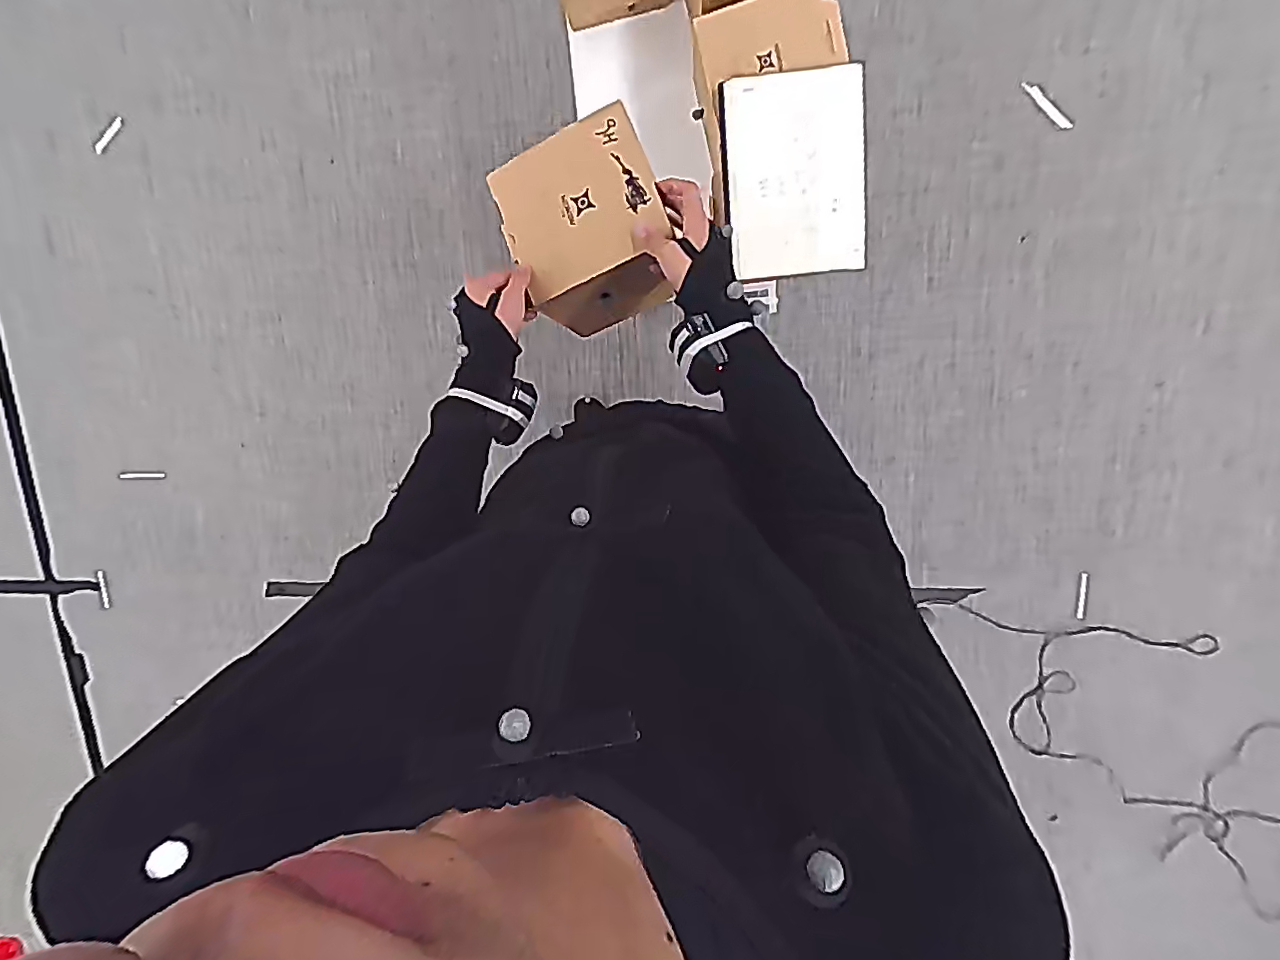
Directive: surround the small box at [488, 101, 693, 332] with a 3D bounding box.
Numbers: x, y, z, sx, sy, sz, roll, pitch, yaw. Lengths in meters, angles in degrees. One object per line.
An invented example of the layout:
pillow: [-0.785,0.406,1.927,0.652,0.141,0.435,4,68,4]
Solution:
small box: [-0.050,-0.304,0.671,0.179,0.176,0.168,-22,88,14]
